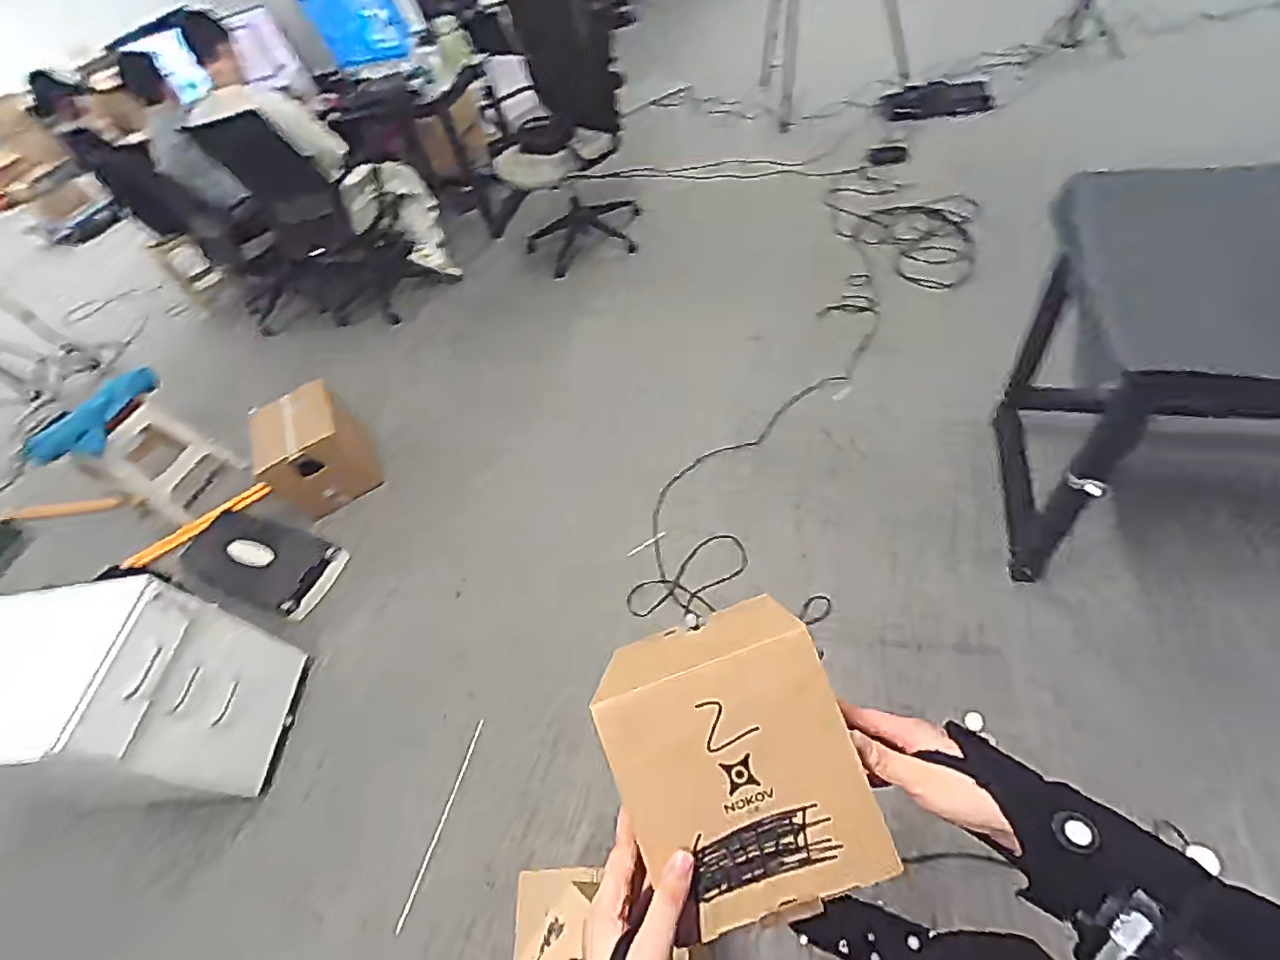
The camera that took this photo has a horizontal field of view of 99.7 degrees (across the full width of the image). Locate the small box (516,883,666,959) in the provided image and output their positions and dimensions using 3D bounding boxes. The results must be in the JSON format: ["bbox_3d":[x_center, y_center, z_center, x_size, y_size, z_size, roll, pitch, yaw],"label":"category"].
[{"bbox_3d":[-0.078,0.765,0.841,0.179,0.176,0.168,27,65,29],"label":"small box"}]
